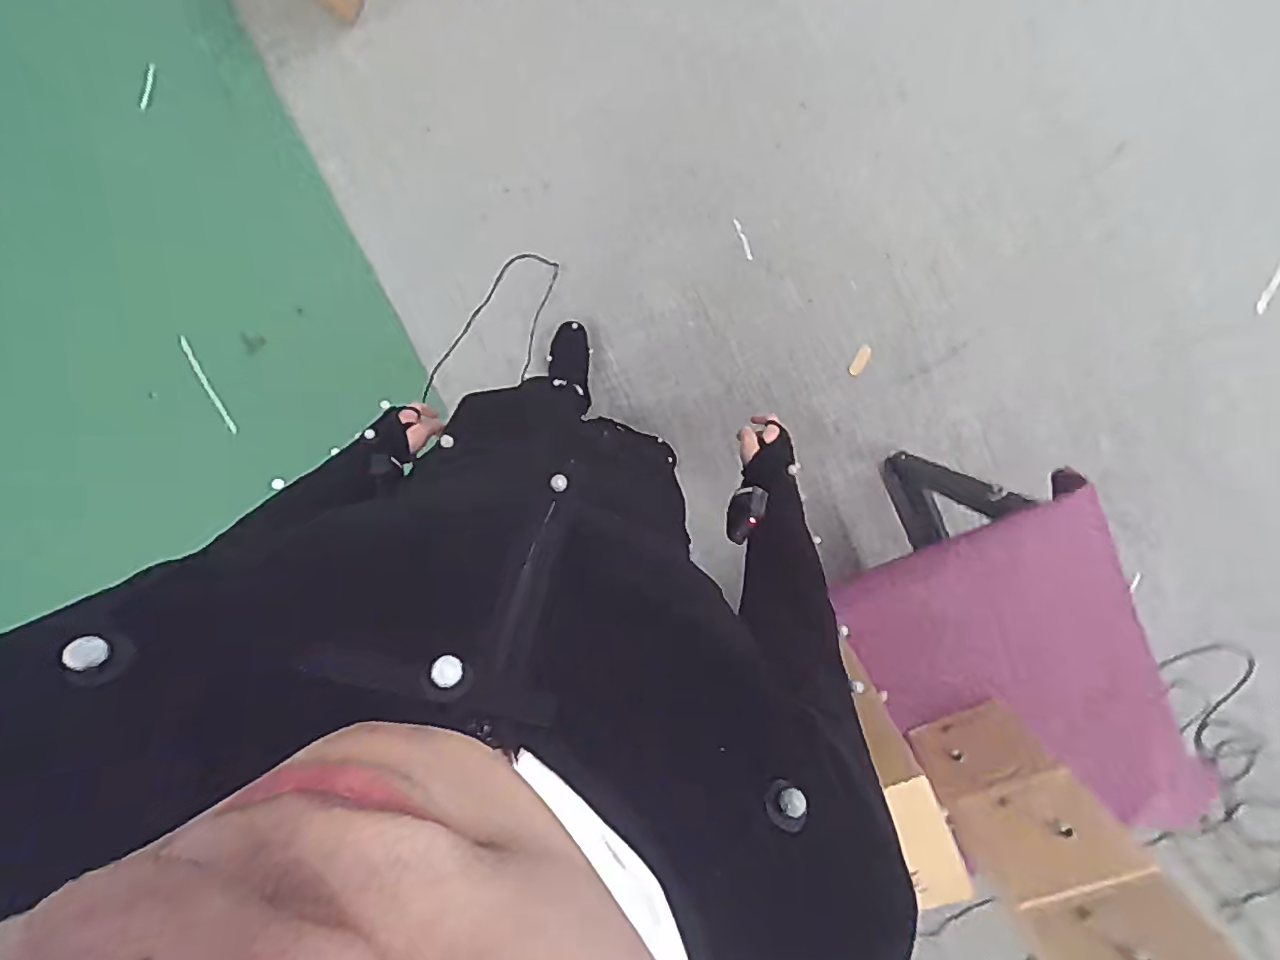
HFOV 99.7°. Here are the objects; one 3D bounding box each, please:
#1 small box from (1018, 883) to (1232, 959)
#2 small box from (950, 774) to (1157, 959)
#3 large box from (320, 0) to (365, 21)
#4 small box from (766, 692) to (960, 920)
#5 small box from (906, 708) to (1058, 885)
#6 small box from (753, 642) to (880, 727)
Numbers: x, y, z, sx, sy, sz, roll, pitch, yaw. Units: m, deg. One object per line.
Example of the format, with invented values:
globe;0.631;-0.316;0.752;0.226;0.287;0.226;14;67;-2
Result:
small box;0.553;0.578;0.579;0.168;0.176;0.179;-25;99;9
small box;0.563;0.538;0.738;0.168;0.176;0.179;-24;100;9
large box;-0.791;-1.425;1.244;0.320;0.320;0.408;33;103;-3
small box;0.285;0.425;0.726;0.168;0.176;0.179;-23;100;8
small box;0.574;0.508;0.897;0.168;0.176;0.179;-24;100;9
small box;0.296;0.389;0.885;0.168;0.176;0.179;-23;100;9
